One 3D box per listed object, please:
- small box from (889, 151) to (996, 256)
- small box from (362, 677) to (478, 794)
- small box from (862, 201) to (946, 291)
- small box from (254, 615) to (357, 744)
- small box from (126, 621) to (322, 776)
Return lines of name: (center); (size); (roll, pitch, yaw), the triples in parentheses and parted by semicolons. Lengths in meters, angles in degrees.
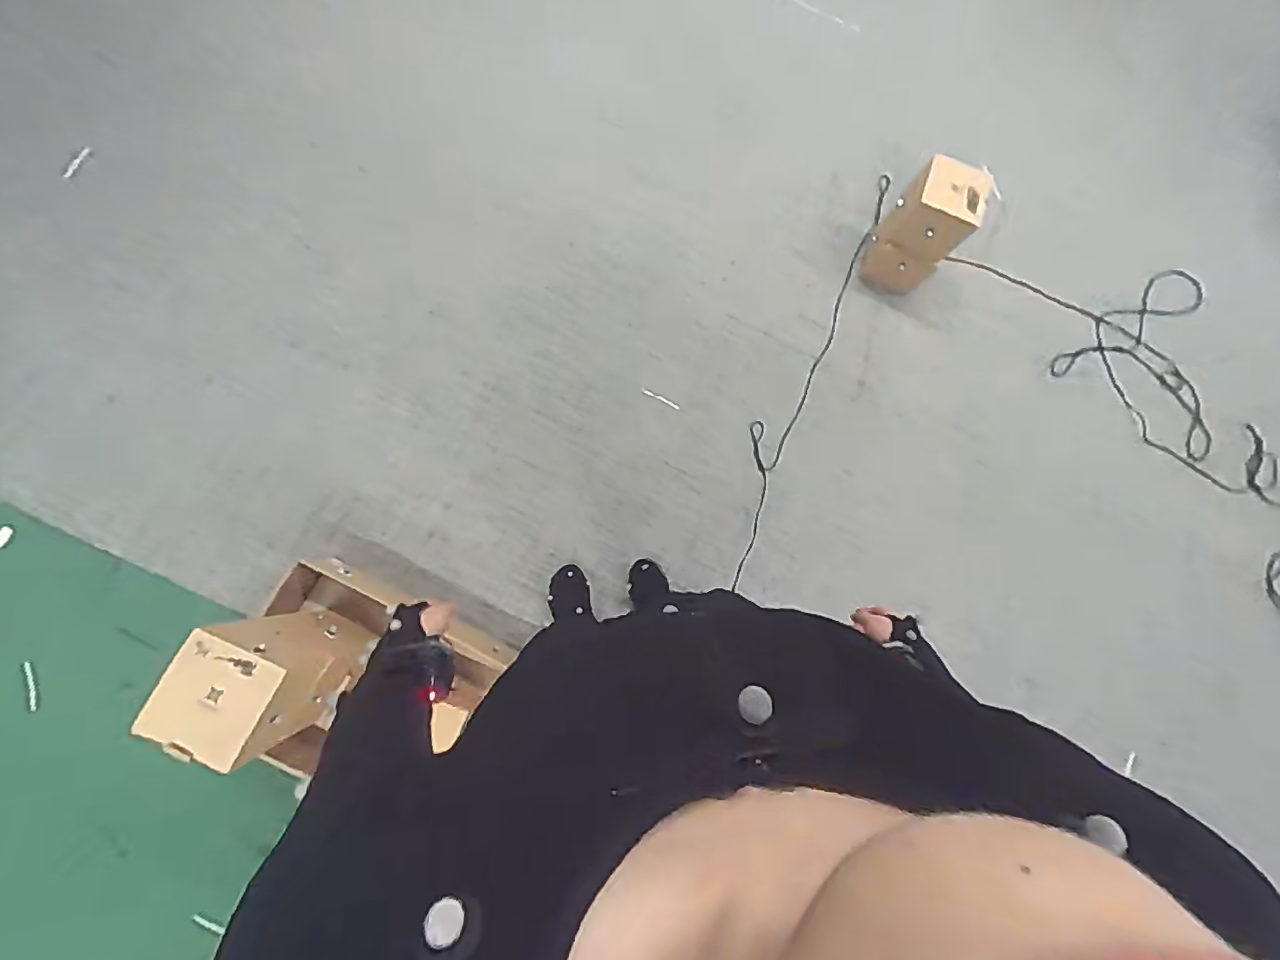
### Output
small box: (0.829, -0.753, 1.494); (0.179, 0.176, 0.168); (21, 78, -1)
small box: (-0.491, 0.575, 1.241); (0.168, 0.176, 0.179); (23, 77, 0)
small box: (0.810, -0.707, 1.651); (0.179, 0.176, 0.168); (18, 80, -3)
small box: (-0.709, 0.389, 1.085); (0.168, 0.176, 0.179); (29, 76, -1)
small box: (-0.690, 0.359, 0.925); (0.168, 0.176, 0.179); (26, 78, -2)
